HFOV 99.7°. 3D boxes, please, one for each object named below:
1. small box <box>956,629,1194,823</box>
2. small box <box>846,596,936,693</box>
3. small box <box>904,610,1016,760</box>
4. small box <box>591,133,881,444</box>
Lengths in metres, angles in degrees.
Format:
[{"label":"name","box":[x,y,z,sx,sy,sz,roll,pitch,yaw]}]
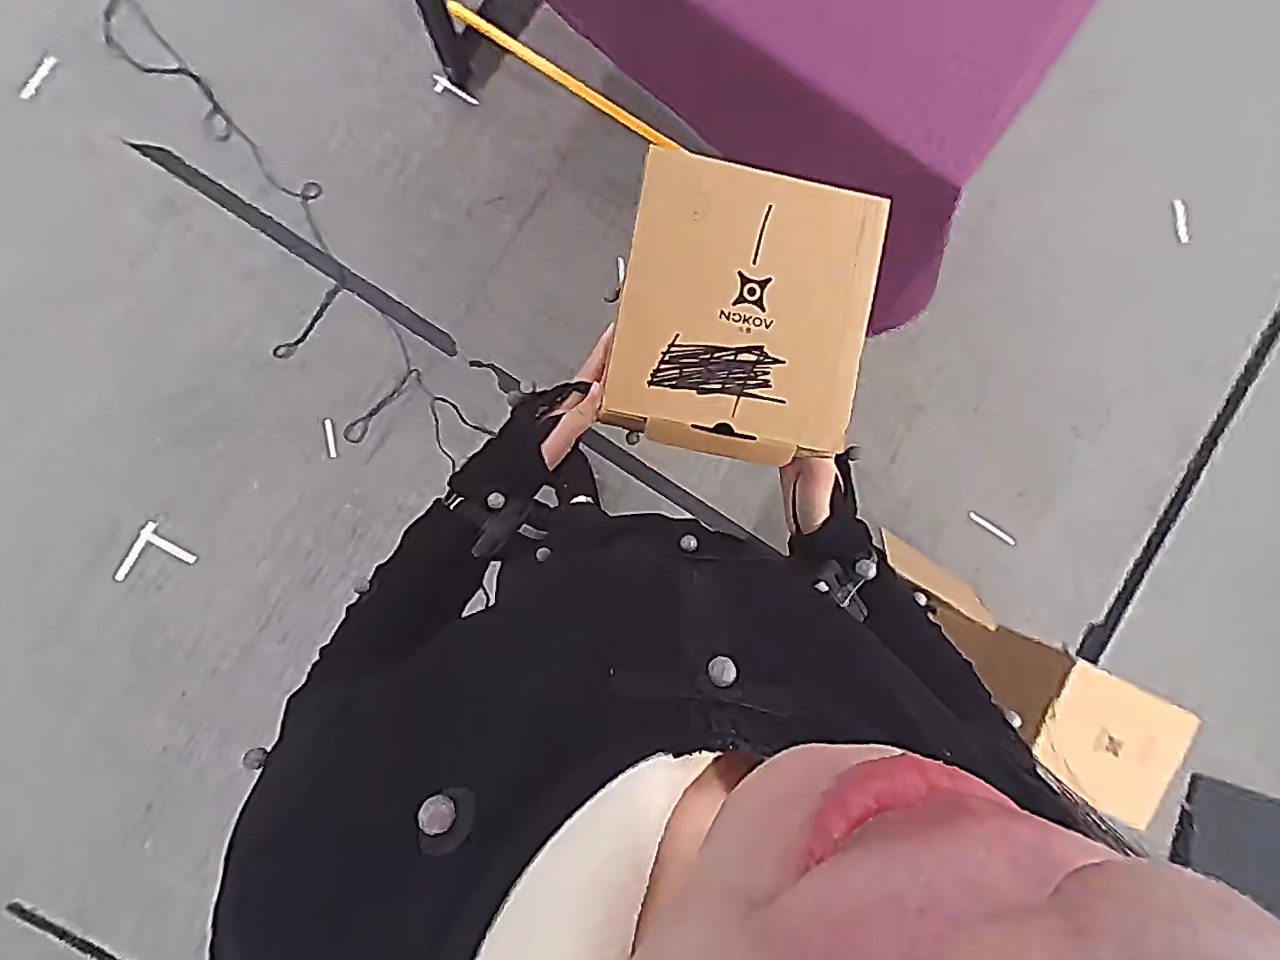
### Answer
[{"label":"small box","box":[0.603,0.335,0.778,0.179,0.176,0.168,27,92,1]},{"label":"small box","box":[0.606,0.384,1.270,0.168,0.176,0.179,11,92,0]},{"label":"small box","box":[0.598,0.350,0.942,0.168,0.176,0.179,26,91,2]},{"label":"small box","box":[0.059,-0.127,0.433,0.168,0.176,0.179,10,92,-4]}]
